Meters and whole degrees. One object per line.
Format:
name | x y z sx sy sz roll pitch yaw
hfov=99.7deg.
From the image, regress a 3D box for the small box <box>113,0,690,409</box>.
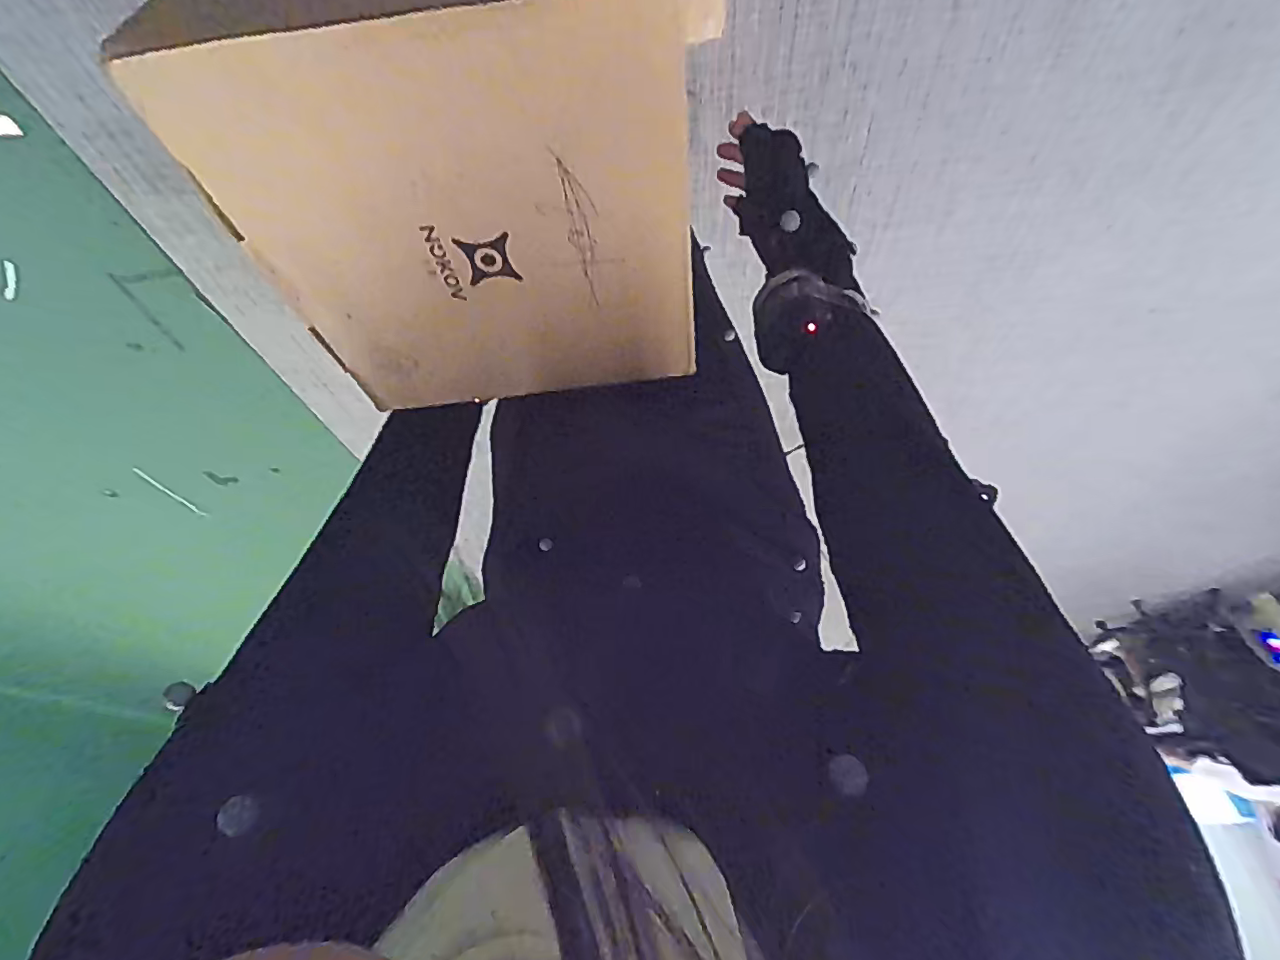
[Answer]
small box | -0.073 -0.160 0.267 0.179 0.176 0.168 -7 149 4
